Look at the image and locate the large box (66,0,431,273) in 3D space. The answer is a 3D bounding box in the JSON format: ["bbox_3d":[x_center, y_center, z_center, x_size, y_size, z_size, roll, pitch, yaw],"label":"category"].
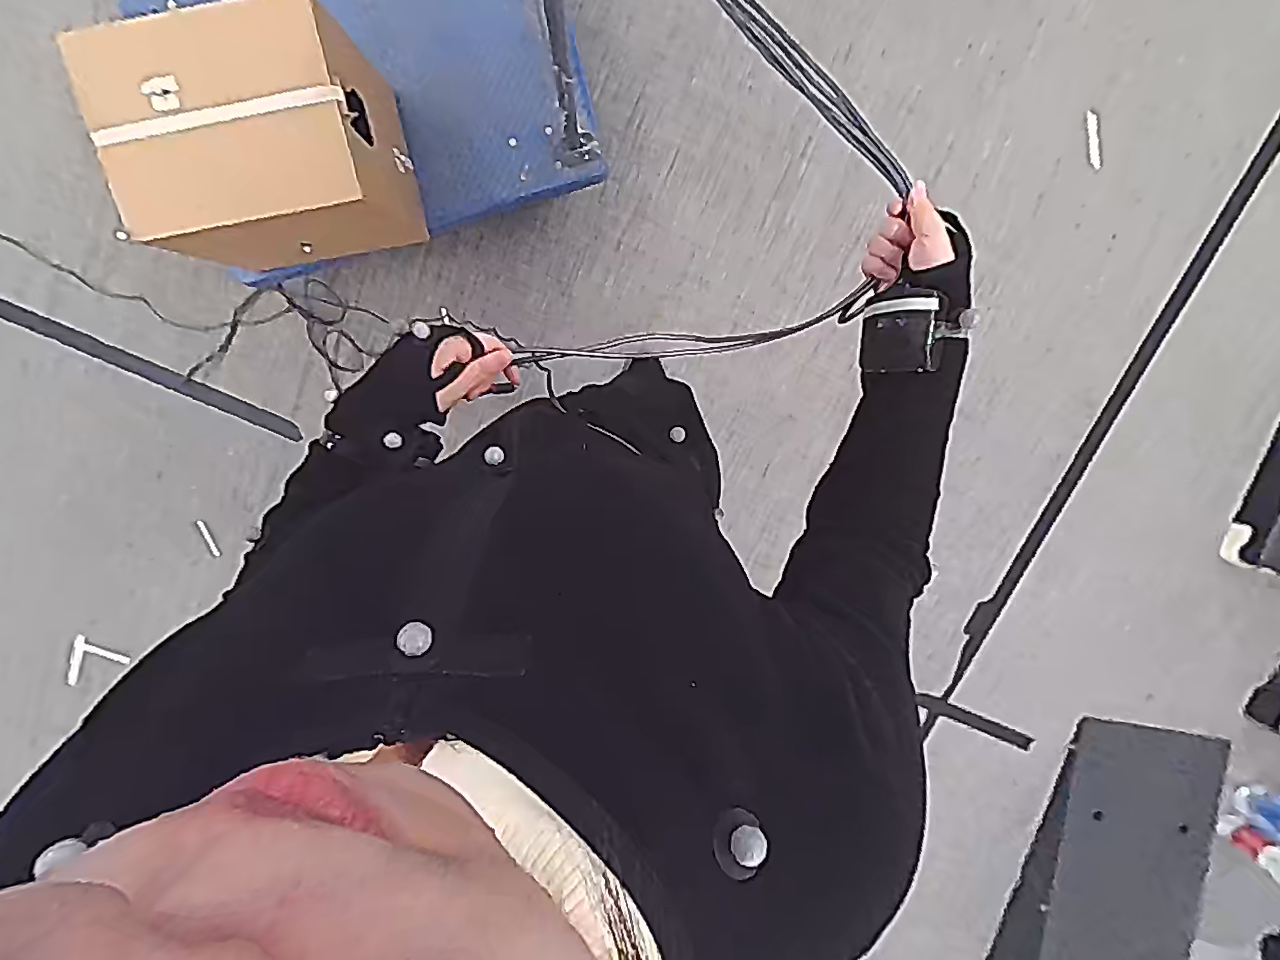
[{"bbox_3d":[-0.674,-0.604,1.011,0.408,0.320,0.320,-10,101,2],"label":"large box"}]
